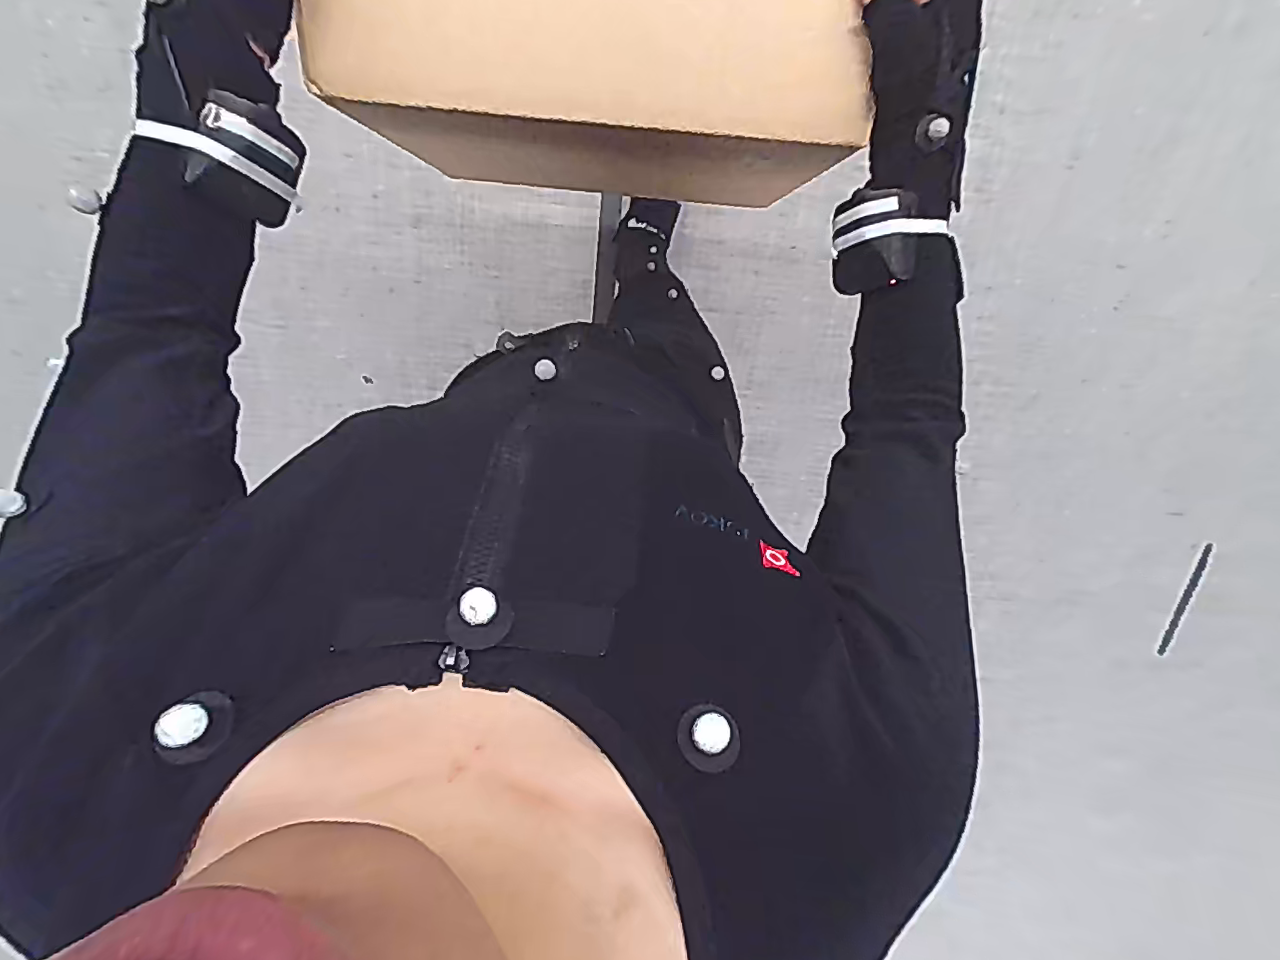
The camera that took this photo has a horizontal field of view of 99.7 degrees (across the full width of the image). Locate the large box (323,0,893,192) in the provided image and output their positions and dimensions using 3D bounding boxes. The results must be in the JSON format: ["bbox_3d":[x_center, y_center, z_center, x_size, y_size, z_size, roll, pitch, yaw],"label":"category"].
[{"bbox_3d":[-0.020,-0.466,0.485,0.408,0.320,0.320,3,110,-3],"label":"large box"}]
